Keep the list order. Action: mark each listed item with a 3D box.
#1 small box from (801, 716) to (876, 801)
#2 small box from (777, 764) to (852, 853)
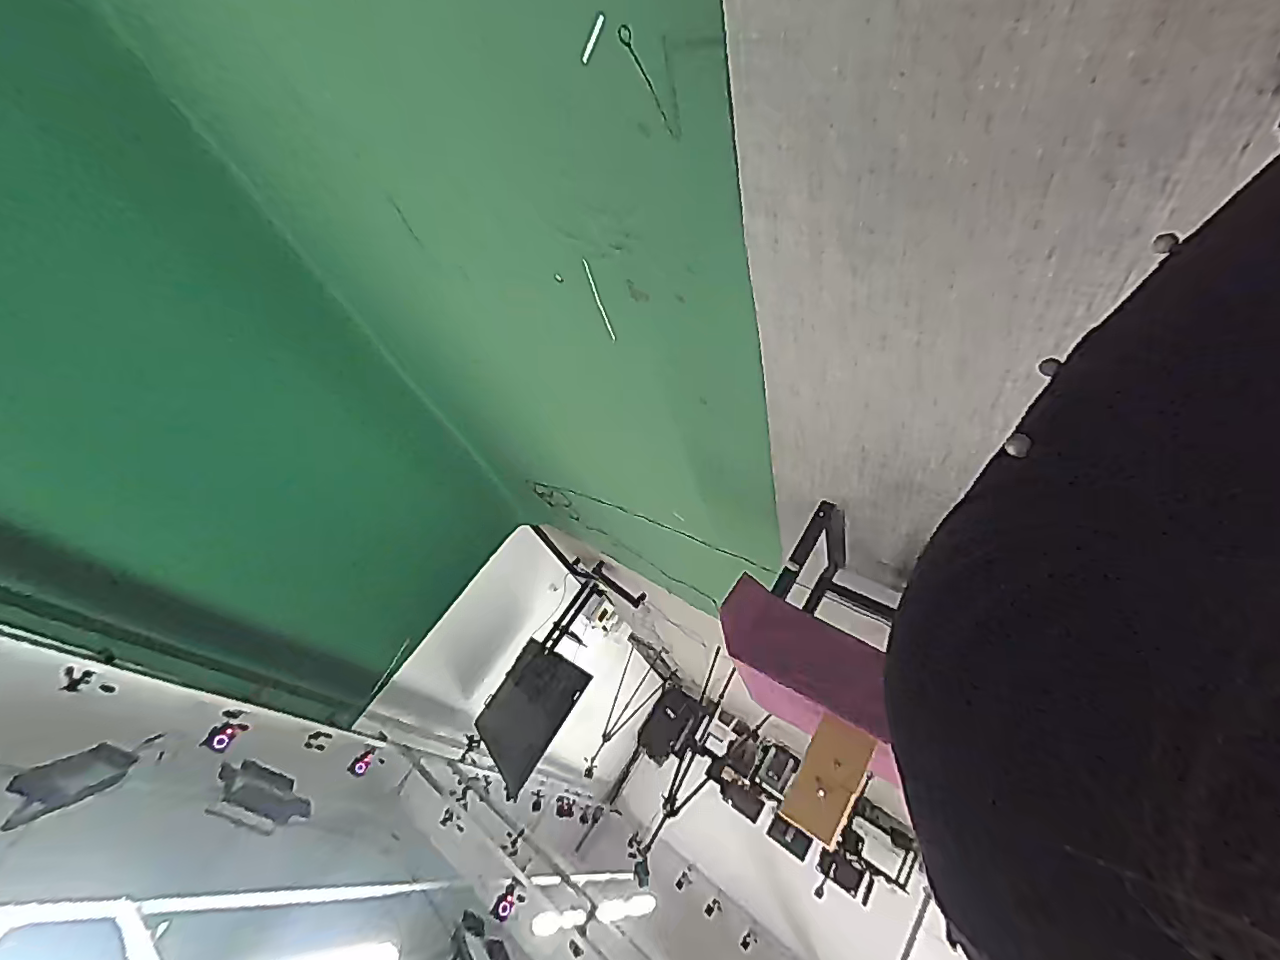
[{"bbox_3d":[0.637,0.890,1.734,0.179,0.176,0.168,24,155,31],"label":"small box"},{"bbox_3d":[0.546,1.018,1.682,0.168,0.176,0.179,22,154,34],"label":"small box"}]
